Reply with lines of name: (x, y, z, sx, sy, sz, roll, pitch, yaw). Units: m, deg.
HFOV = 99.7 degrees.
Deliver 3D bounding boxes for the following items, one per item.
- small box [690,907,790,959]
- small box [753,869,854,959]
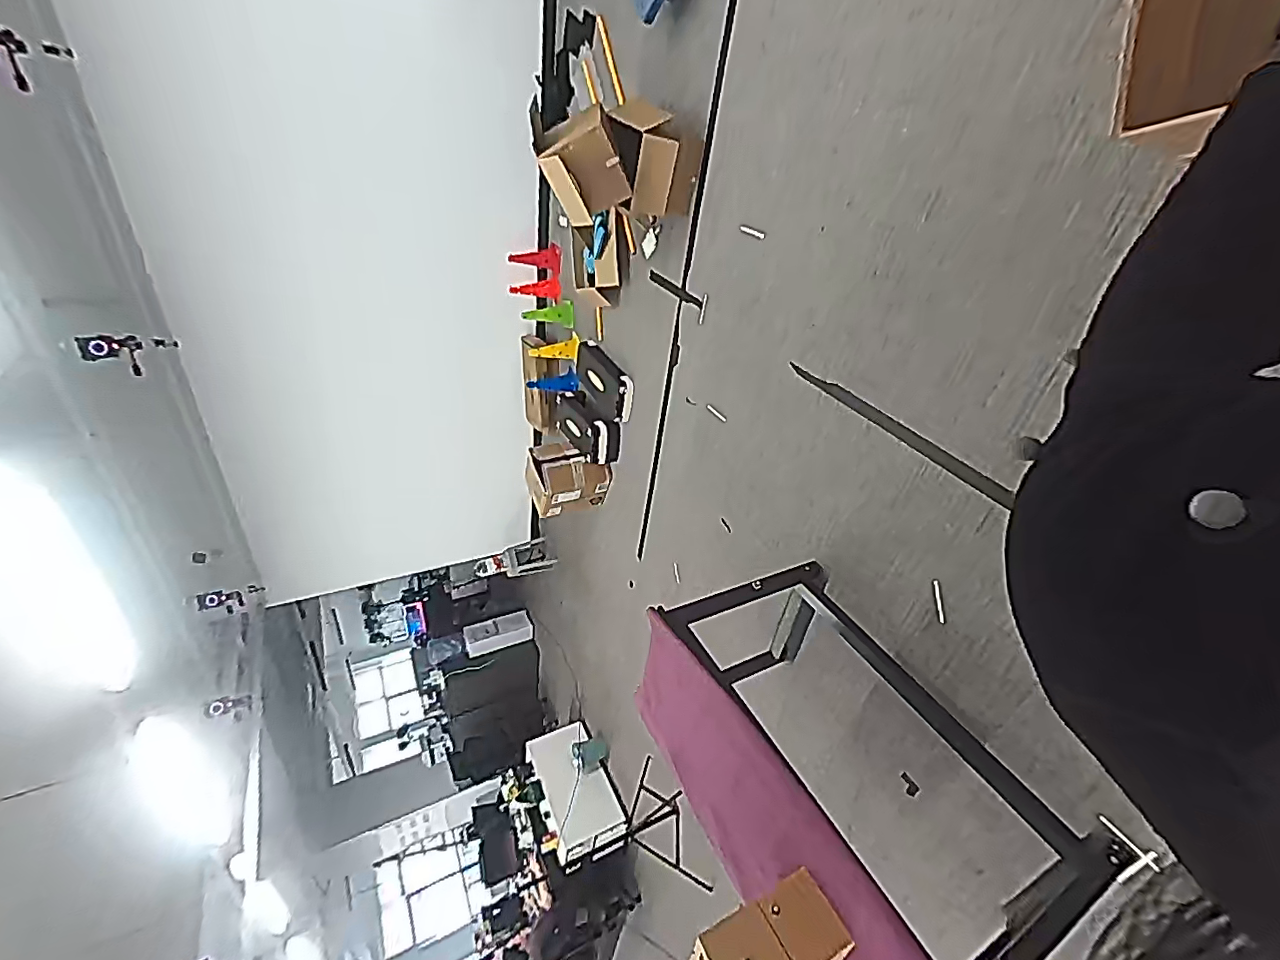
small box: (0.238, 1.125, 1.235, 0.179, 0.176, 0.168, 47, 140, 47)
small box: (0.383, 1.102, 1.309, 0.179, 0.176, 0.168, 47, 140, 47)
